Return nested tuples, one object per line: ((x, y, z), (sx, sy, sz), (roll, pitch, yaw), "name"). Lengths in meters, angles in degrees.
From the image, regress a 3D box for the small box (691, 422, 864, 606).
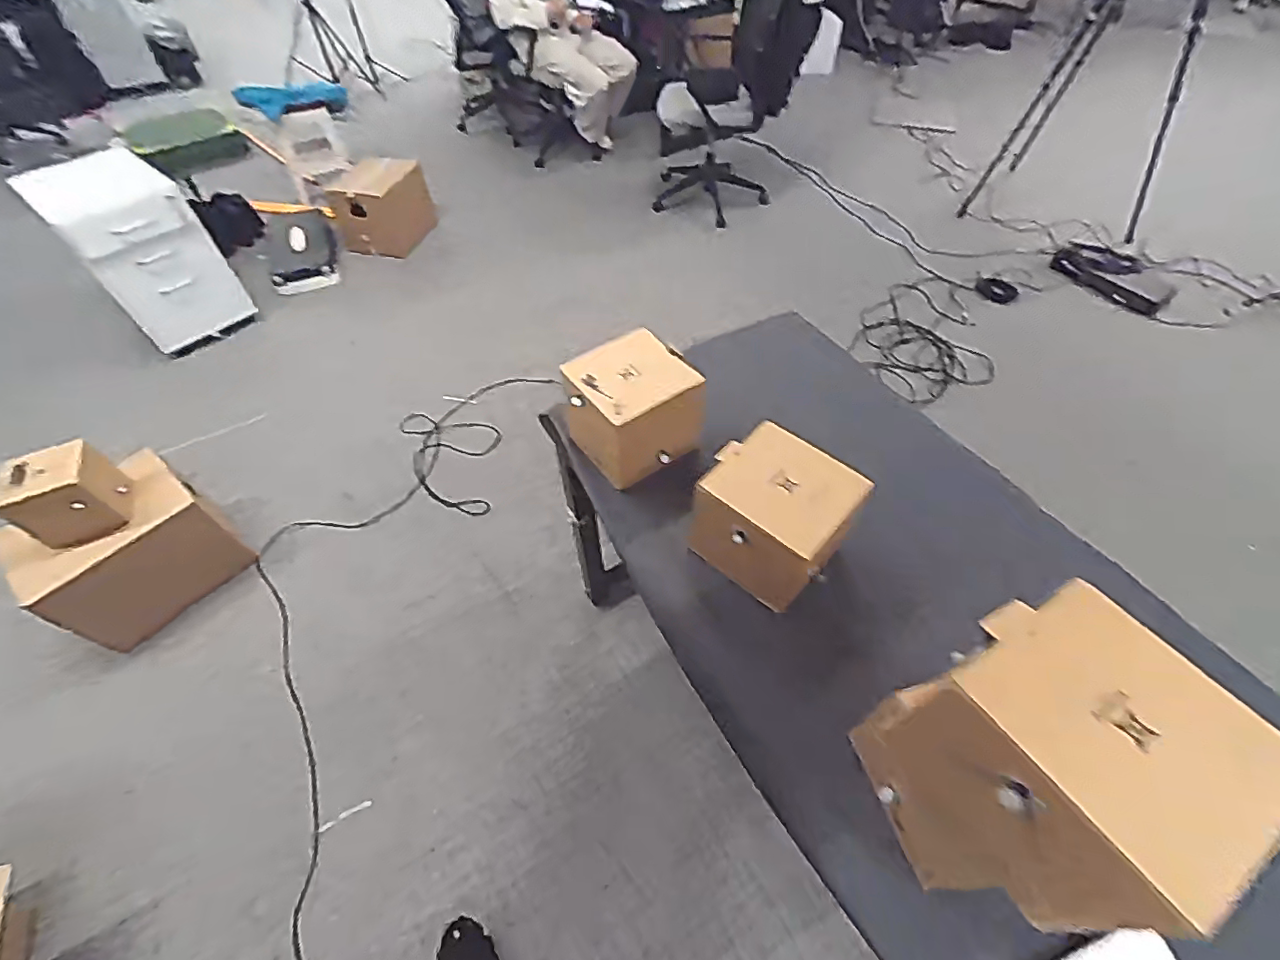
((0.190, 0.053, 0.800), (0.179, 0.176, 0.168), (36, 61, 25), "small box")

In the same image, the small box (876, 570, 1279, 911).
((0.340, 0.216, 0.455), (0.168, 0.176, 0.179), (-26, 55, -19), "small box")

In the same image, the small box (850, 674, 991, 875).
((0.363, 0.306, 0.590), (0.179, 0.176, 0.168), (-13, 51, -9), "small box")

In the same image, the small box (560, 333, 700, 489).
((-0.018, -0.119, 0.939), (0.179, 0.176, 0.168), (-30, 55, -21), "small box")
